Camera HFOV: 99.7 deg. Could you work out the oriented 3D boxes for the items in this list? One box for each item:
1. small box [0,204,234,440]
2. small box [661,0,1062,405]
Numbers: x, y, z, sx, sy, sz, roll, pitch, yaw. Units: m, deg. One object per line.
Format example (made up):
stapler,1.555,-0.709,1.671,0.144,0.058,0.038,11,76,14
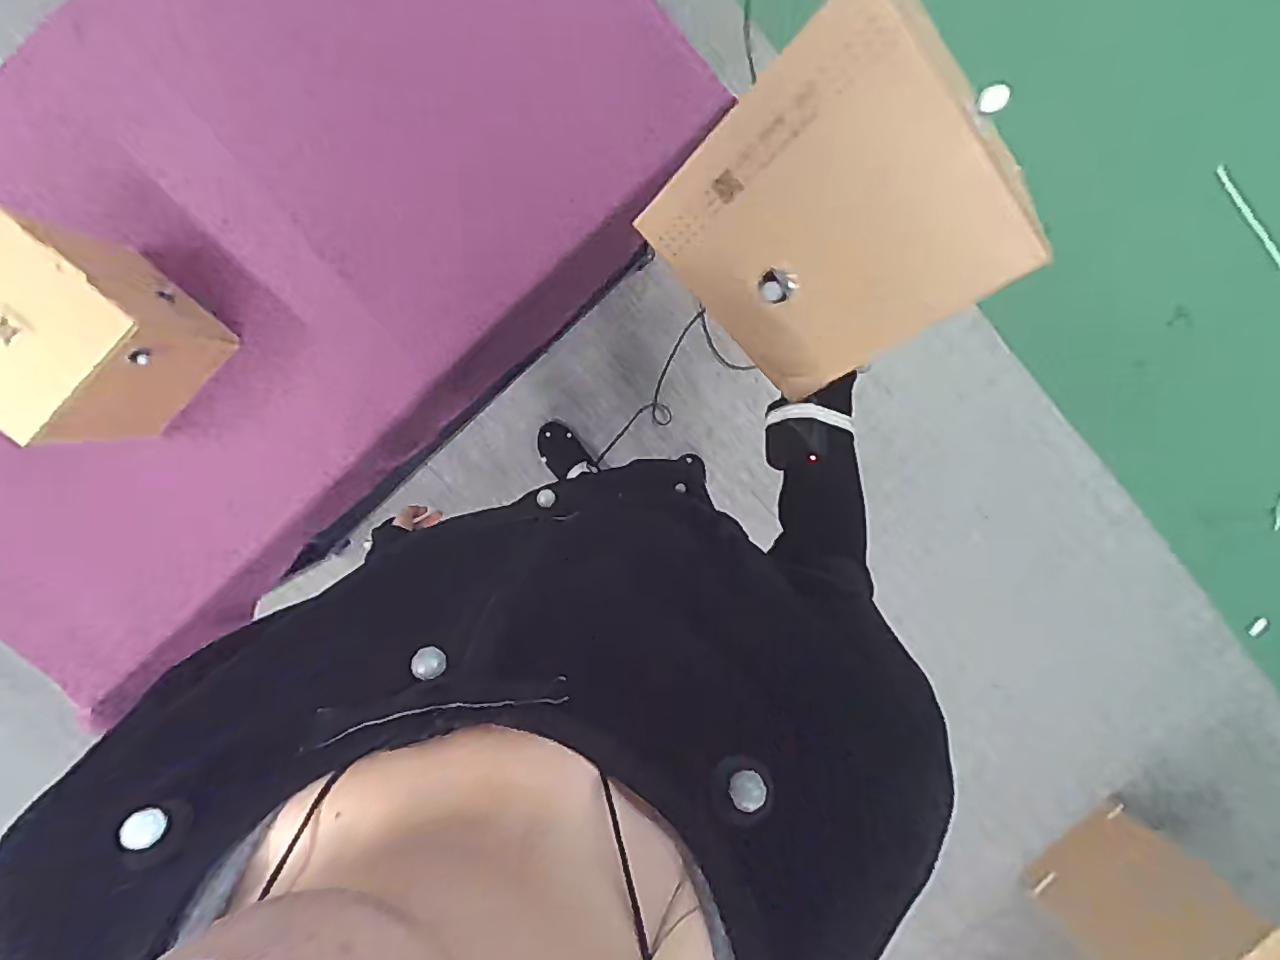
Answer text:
small box,-0.629,-0.163,0.621,0.168,0.176,0.179,42,91,-8
small box,0.140,-0.190,0.363,0.176,0.179,0.168,45,136,-17
